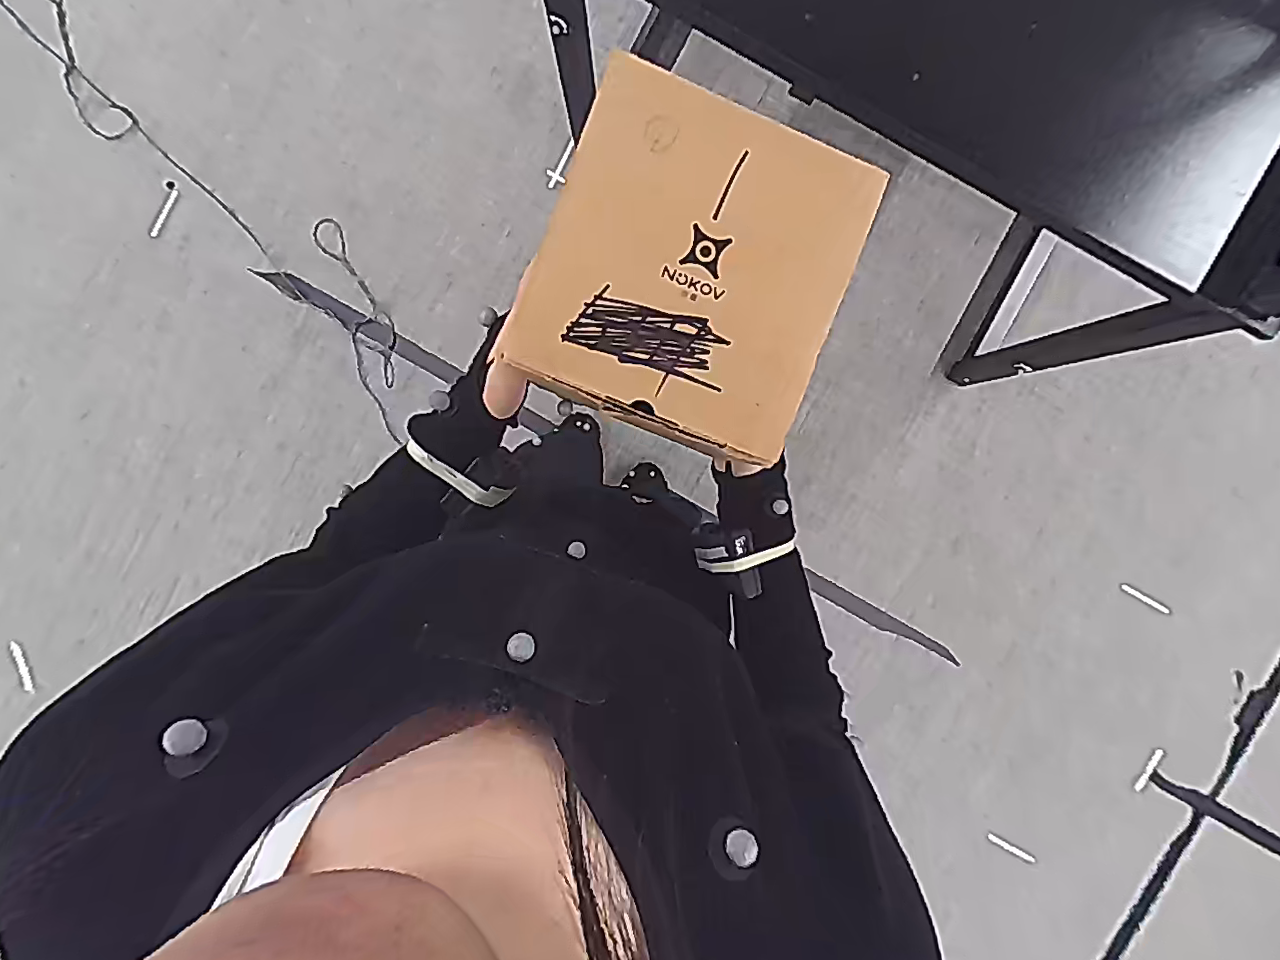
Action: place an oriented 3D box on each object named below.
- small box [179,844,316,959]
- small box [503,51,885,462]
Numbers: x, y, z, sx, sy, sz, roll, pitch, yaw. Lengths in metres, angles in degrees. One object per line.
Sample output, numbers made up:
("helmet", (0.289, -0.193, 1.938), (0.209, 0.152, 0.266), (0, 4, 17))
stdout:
("small box", (-0.919, 1.030, 1.285), (0.168, 0.176, 0.179), (31, 91, -2))
("small box", (0.026, -0.124, 0.374), (0.168, 0.176, 0.179), (21, 92, -6))
